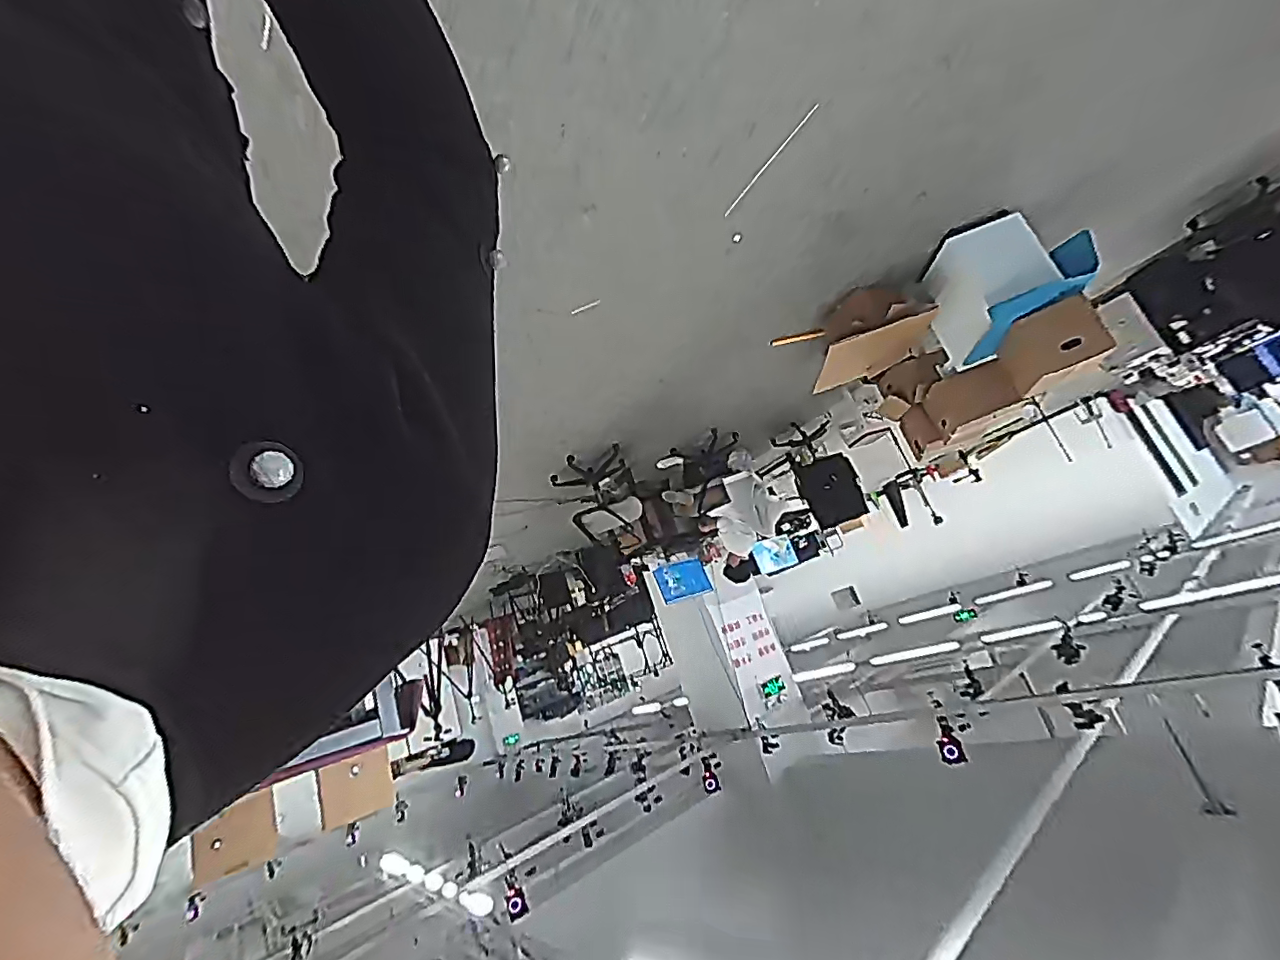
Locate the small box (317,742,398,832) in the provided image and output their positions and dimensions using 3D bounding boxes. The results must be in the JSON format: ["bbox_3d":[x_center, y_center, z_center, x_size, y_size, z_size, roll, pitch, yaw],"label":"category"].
[{"bbox_3d":[-0.804,0.861,1.529,0.179,0.176,0.168,-7,160,-36],"label":"small box"}]

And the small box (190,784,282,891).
[{"bbox_3d":[-1.020,0.888,1.362,0.168,0.176,0.179,-5,160,-40],"label":"small box"}]
